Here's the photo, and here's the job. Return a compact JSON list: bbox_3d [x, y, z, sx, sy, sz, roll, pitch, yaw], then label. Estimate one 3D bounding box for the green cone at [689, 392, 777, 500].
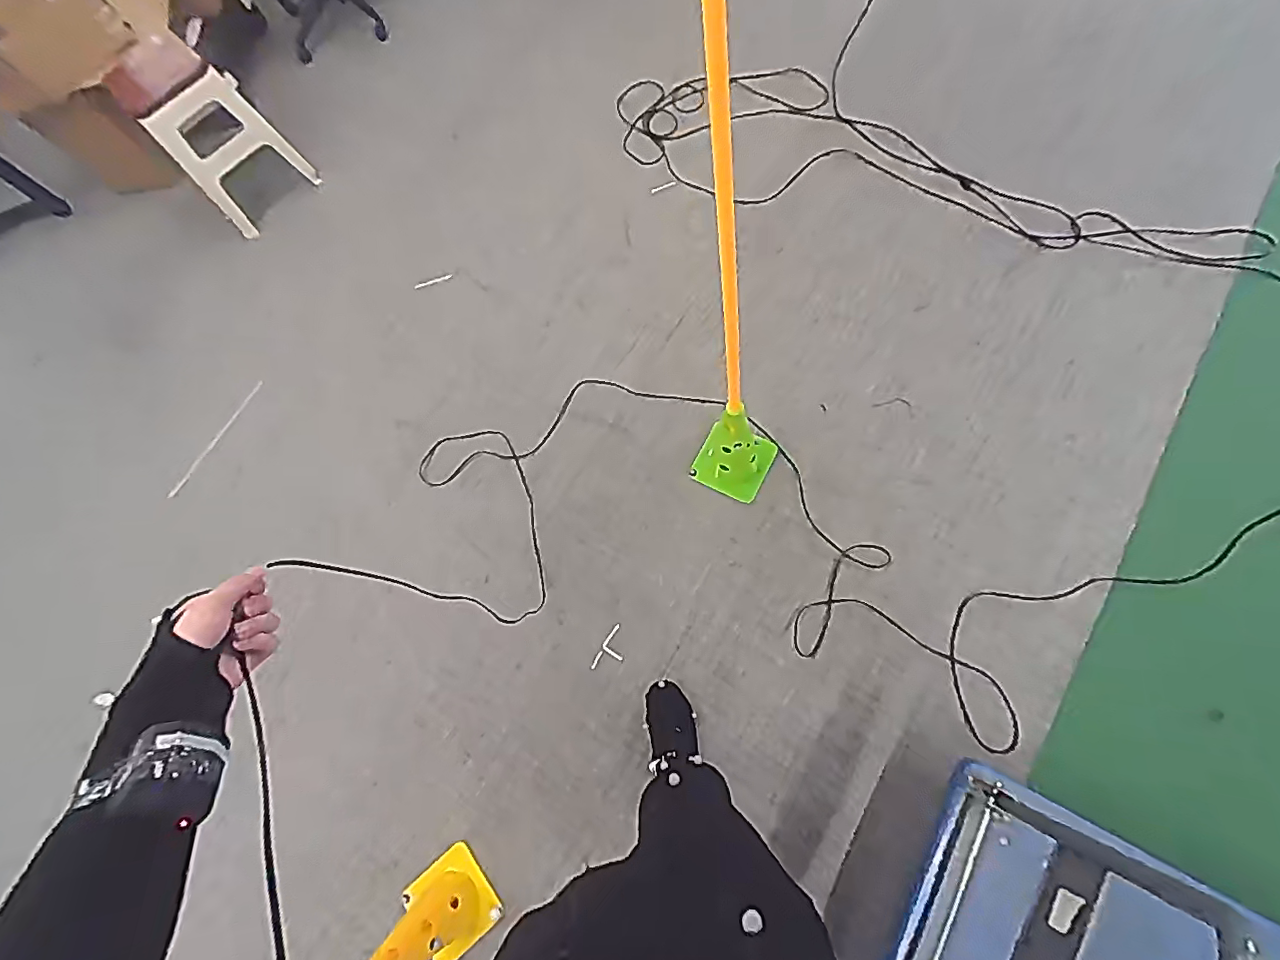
[{"bbox_3d":[0.241,-0.117,1.376,0.200,0.368,0.202,26,76,15],"label":"green cone"}]
